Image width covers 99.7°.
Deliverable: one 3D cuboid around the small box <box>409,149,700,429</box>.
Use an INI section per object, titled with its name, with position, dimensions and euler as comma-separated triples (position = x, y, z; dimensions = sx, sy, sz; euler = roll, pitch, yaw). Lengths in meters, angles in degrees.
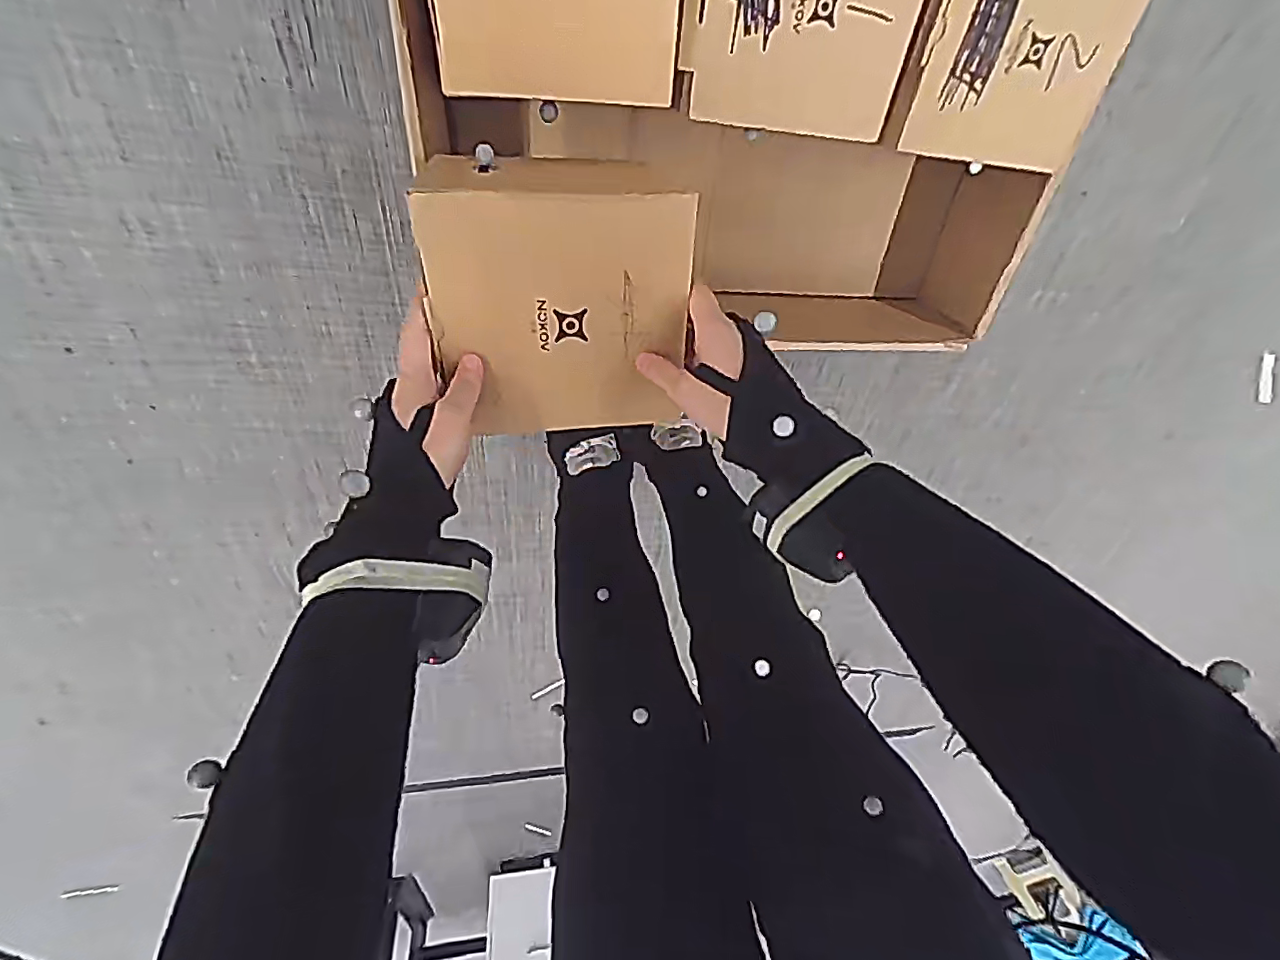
[small box]
position = -0.065, -0.158, 0.432
dimensions = 0.179, 0.176, 0.168
euler = -6, 128, -10
